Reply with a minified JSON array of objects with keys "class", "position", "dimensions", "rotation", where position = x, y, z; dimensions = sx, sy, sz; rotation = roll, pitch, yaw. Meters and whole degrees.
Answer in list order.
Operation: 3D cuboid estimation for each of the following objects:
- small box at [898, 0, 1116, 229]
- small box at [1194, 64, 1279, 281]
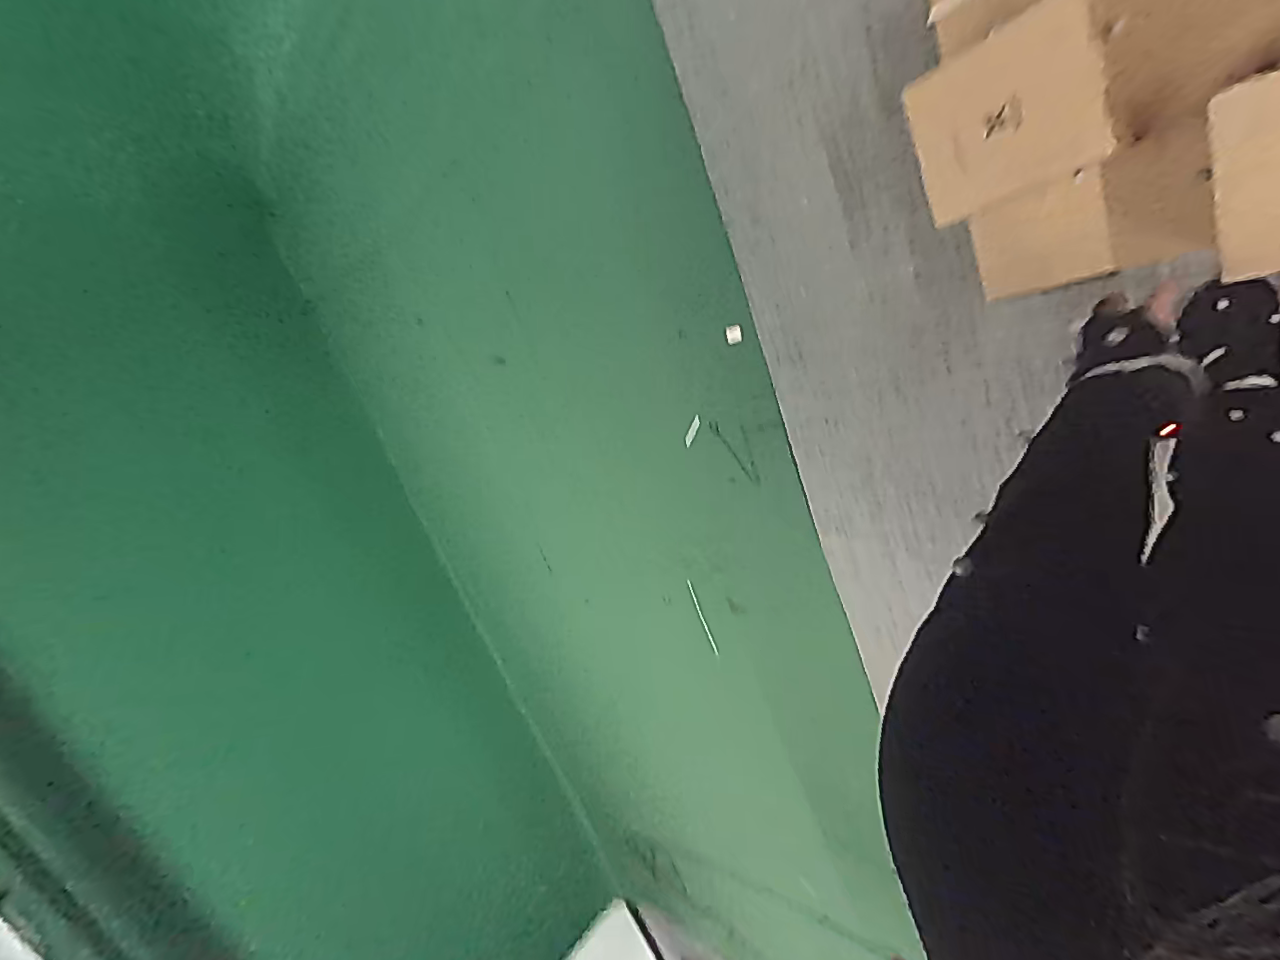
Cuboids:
[{"class":"small box","position":[0.451,-0.433,0.658],"dimensions":[0.179,0.176,0.168],"rotation":[-8,107,50]},{"class":"small box","position":[0.654,-0.313,0.518],"dimensions":[0.168,0.176,0.179],"rotation":[-4,111,47]}]
